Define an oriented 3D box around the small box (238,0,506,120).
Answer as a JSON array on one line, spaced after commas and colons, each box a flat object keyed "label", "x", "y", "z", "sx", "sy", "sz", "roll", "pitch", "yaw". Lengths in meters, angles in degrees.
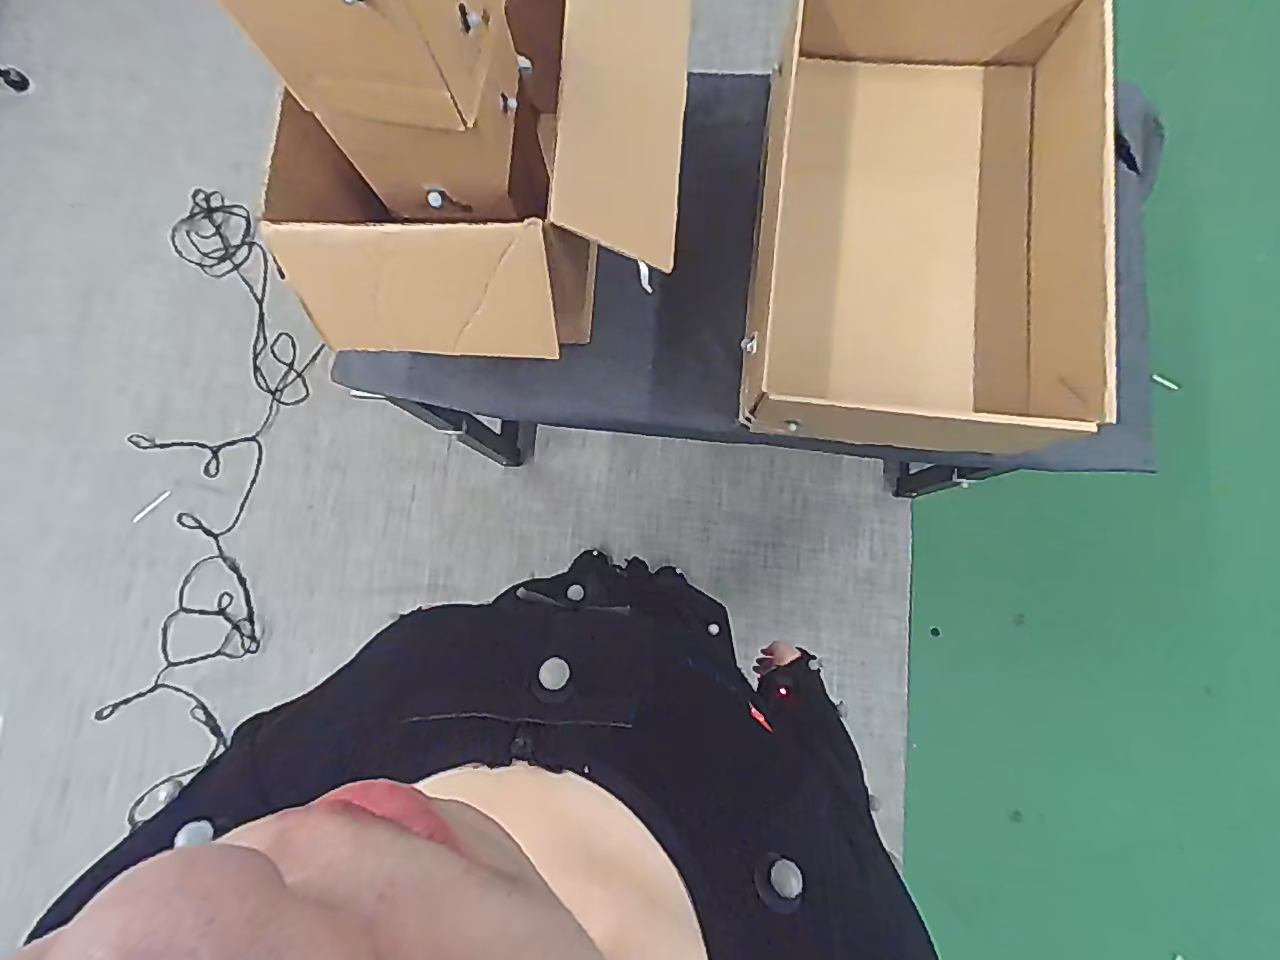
[{"label": "small box", "x": -0.234, "y": -0.446, "z": 0.458, "sx": 0.179, "sy": 0.176, "sz": 0.168, "roll": 10, "pitch": 83, "yaw": 3}]
